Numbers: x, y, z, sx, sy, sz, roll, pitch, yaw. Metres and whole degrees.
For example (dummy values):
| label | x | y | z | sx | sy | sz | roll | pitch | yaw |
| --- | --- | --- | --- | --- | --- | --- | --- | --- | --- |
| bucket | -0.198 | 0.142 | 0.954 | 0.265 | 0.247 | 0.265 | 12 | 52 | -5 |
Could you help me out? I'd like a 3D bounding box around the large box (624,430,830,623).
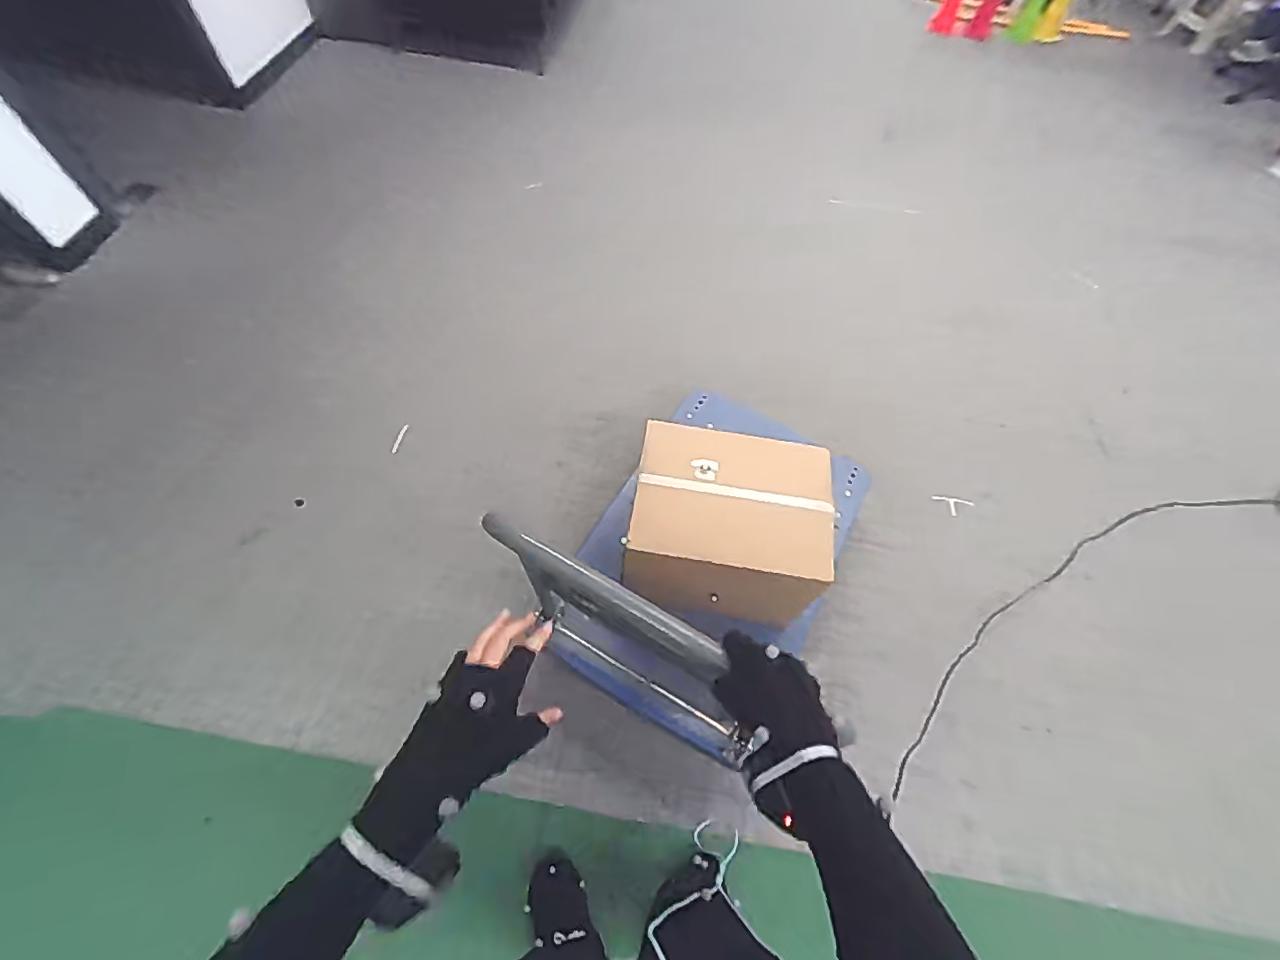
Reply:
| label | x | y | z | sx | sy | sz | roll | pitch | yaw |
| --- | --- | --- | --- | --- | --- | --- | --- | --- | --- |
| large box | 0.184 | 0.118 | 1.244 | 0.408 | 0.320 | 0.320 | 8 | 59 | 2 |
